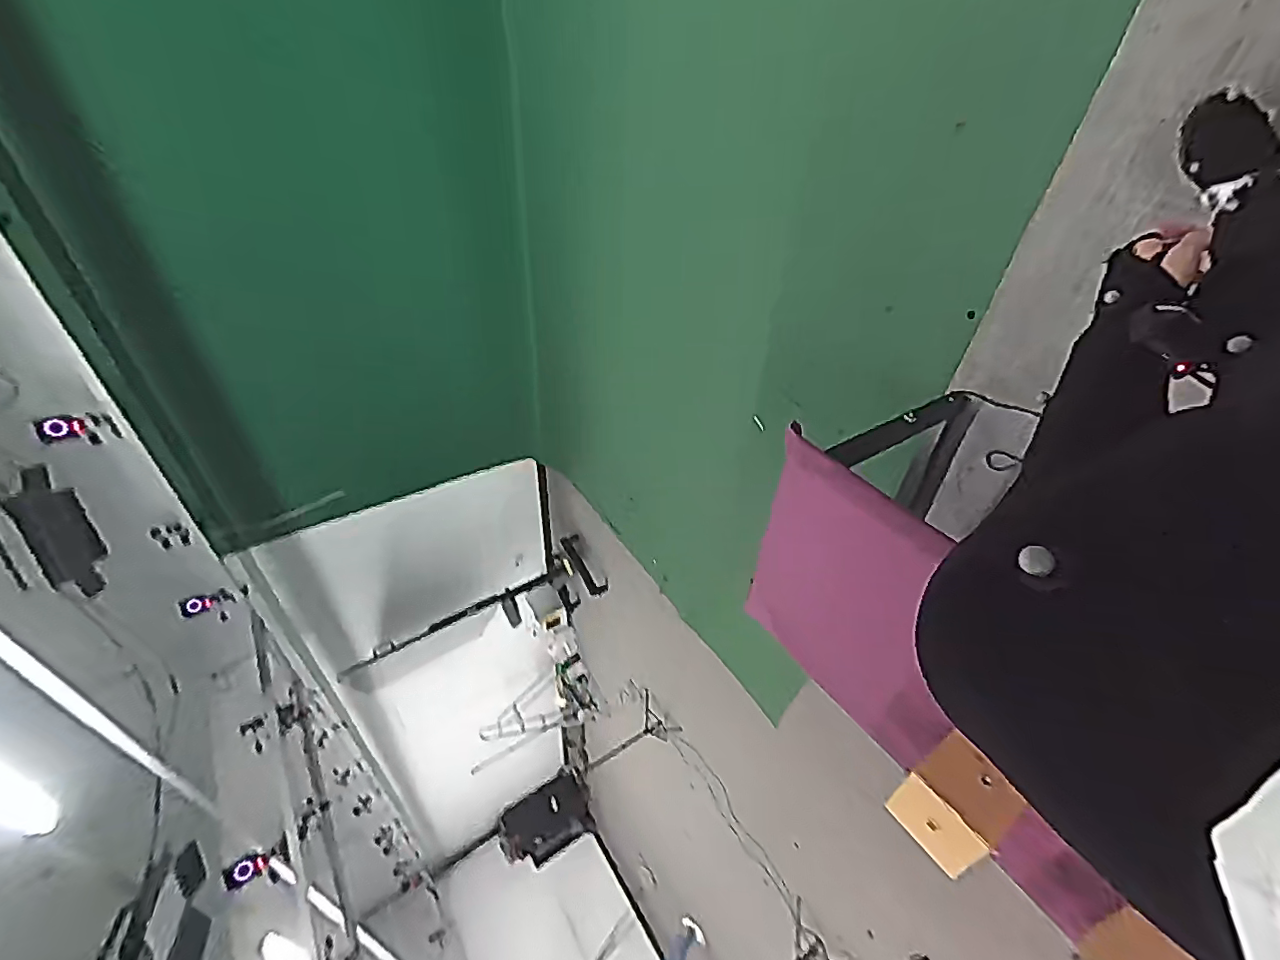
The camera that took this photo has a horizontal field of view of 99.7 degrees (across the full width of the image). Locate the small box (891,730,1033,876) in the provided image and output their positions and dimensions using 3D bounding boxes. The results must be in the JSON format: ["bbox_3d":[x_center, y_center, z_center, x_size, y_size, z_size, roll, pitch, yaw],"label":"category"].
[{"bbox_3d":[0.667,0.667,1.126,0.168,0.176,0.179,44,143,40],"label":"small box"}]
